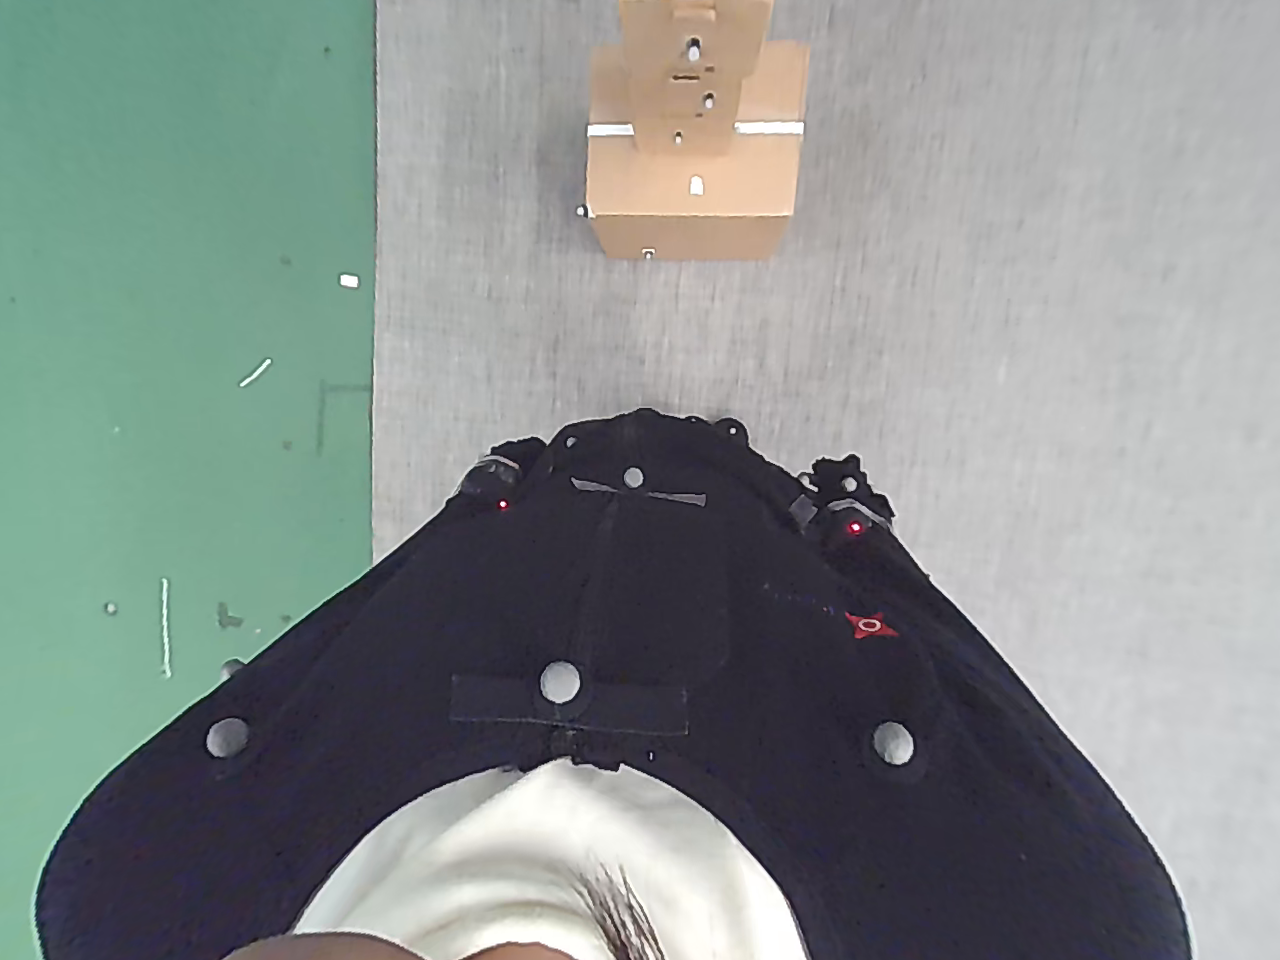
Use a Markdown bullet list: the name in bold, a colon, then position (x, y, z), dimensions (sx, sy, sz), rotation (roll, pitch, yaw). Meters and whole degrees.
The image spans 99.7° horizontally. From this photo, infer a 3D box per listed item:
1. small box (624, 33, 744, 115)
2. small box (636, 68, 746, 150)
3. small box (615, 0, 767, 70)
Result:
- **small box**: position (0.071, -0.652, 0.777), dimensions (0.168, 0.176, 0.179), rotation (3, 103, 4)
- **small box**: position (0.088, -0.690, 0.934), dimensions (0.179, 0.176, 0.168), rotation (2, 104, 6)
- **small box**: position (0.067, -0.605, 0.620), dimensions (0.168, 0.176, 0.179), rotation (4, 105, 5)
